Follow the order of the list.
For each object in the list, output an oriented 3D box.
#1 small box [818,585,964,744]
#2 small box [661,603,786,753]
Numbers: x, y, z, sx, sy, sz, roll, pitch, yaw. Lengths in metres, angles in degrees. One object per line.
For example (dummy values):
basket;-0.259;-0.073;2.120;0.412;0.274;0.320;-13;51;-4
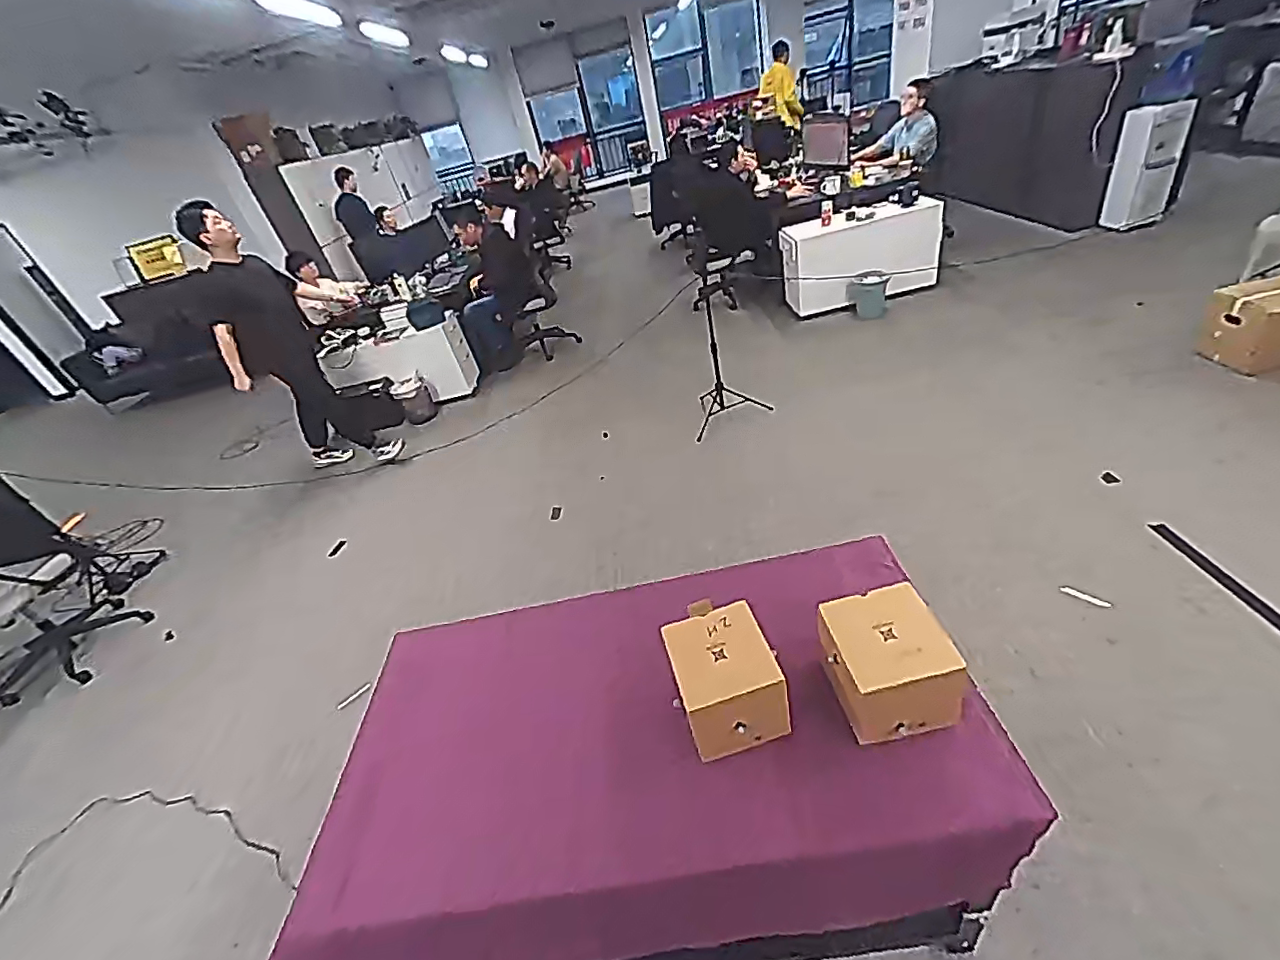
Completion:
small box;0.416;0.313;0.924;0.168;0.176;0.179;-15;35;3
small box;0.150;0.358;0.966;0.168;0.176;0.179;-17;35;-3
